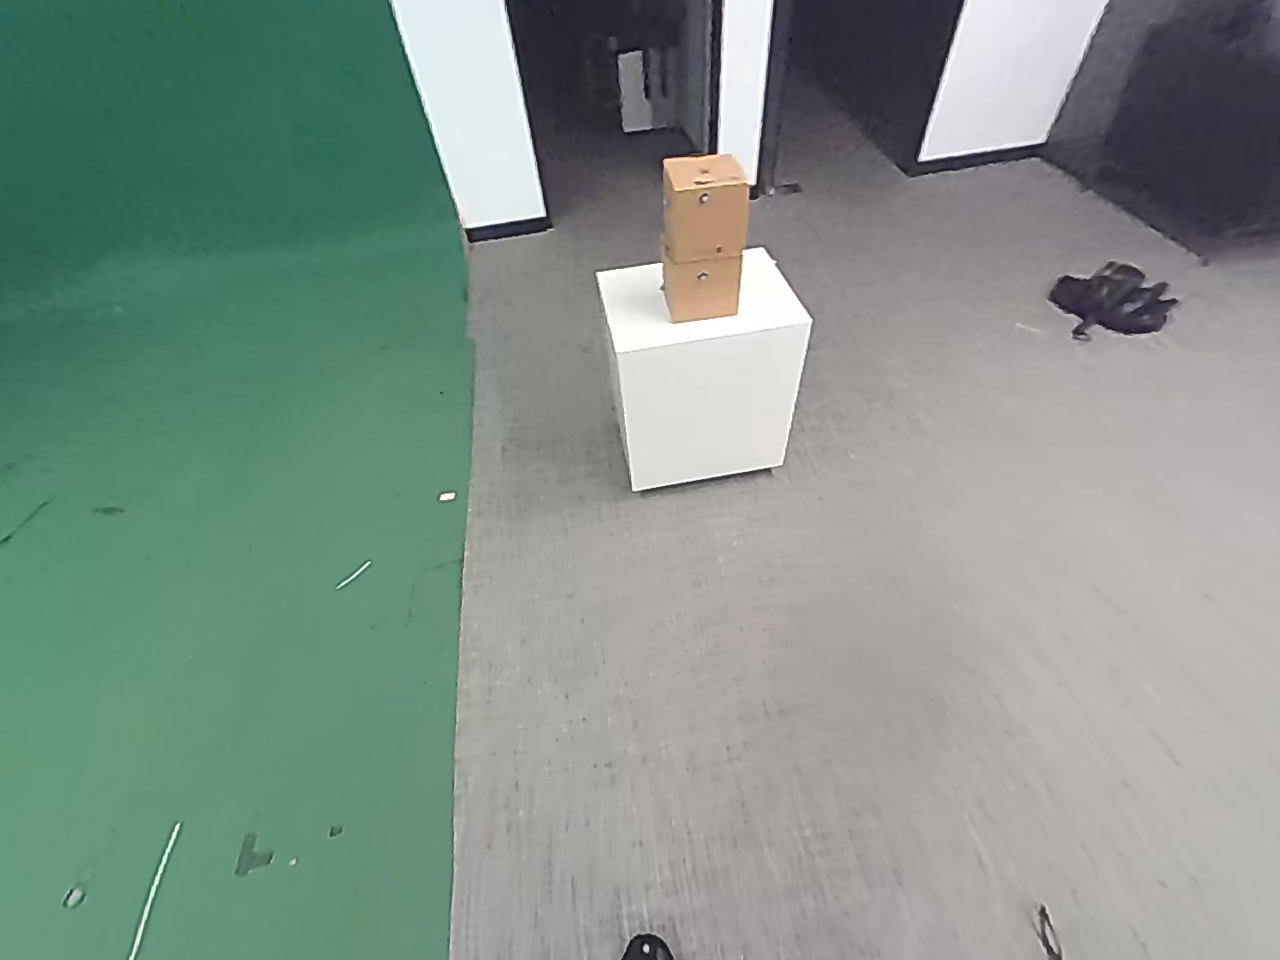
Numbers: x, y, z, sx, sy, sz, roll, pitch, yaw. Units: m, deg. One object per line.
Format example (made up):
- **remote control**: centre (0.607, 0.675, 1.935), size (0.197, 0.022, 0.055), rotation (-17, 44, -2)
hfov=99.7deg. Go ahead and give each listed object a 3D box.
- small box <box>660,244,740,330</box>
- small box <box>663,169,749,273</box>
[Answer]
- **small box**: centre (0.154, -0.510, 1.413), size (0.179, 0.176, 0.168), rotation (-8, 49, -3)
- **small box**: centre (0.150, -0.619, 1.294), size (0.168, 0.176, 0.179), rotation (-9, 50, -5)
